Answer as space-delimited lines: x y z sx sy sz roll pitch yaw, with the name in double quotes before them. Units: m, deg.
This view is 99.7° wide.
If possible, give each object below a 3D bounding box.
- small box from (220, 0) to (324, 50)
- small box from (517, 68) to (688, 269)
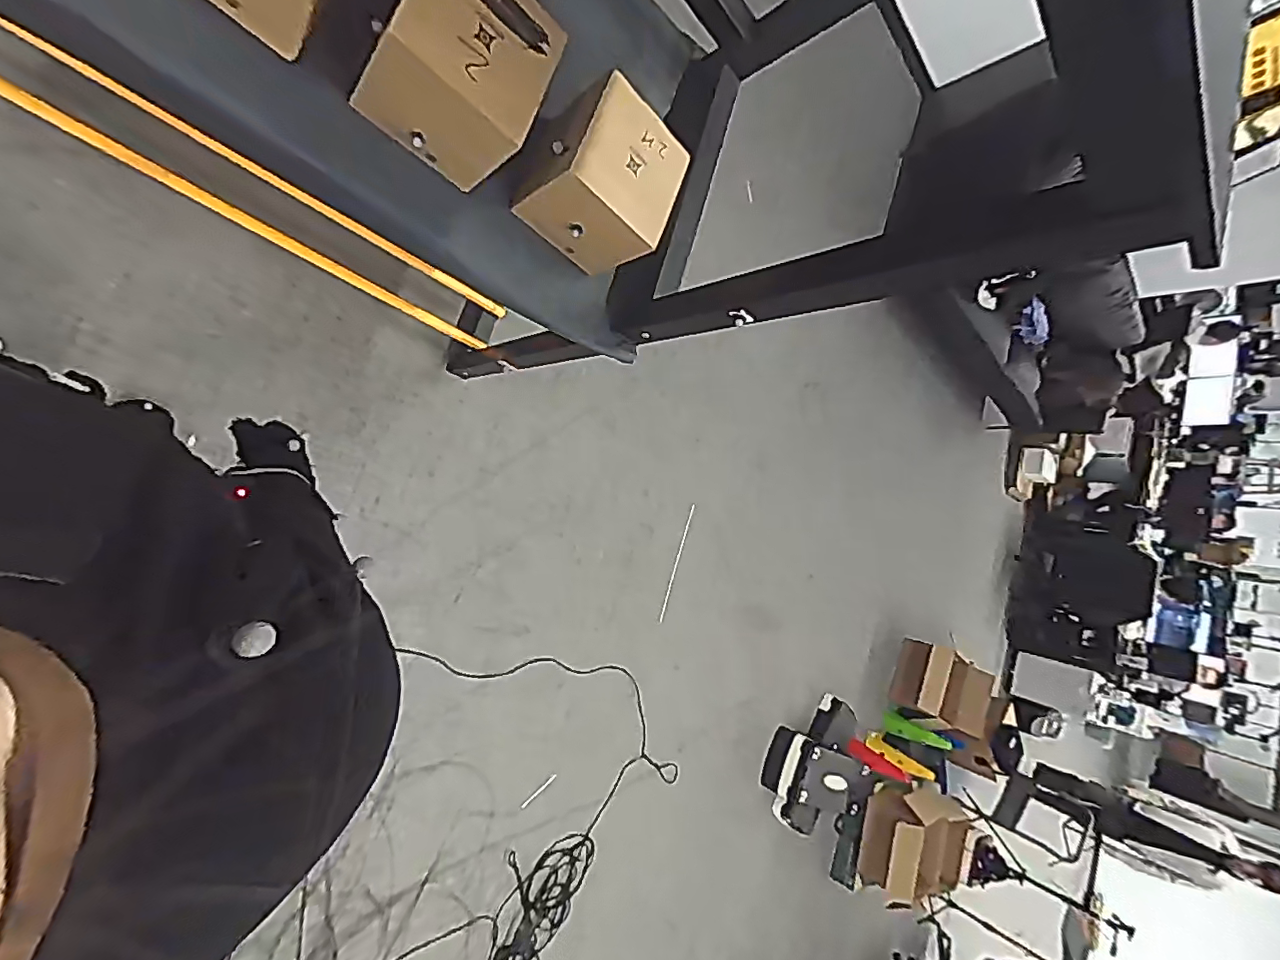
"small box" -0.385 -0.591 0.534 0.168 0.176 0.179 28 76 -38
"small box" -0.062 -0.450 0.818 0.168 0.176 0.179 30 74 -38
